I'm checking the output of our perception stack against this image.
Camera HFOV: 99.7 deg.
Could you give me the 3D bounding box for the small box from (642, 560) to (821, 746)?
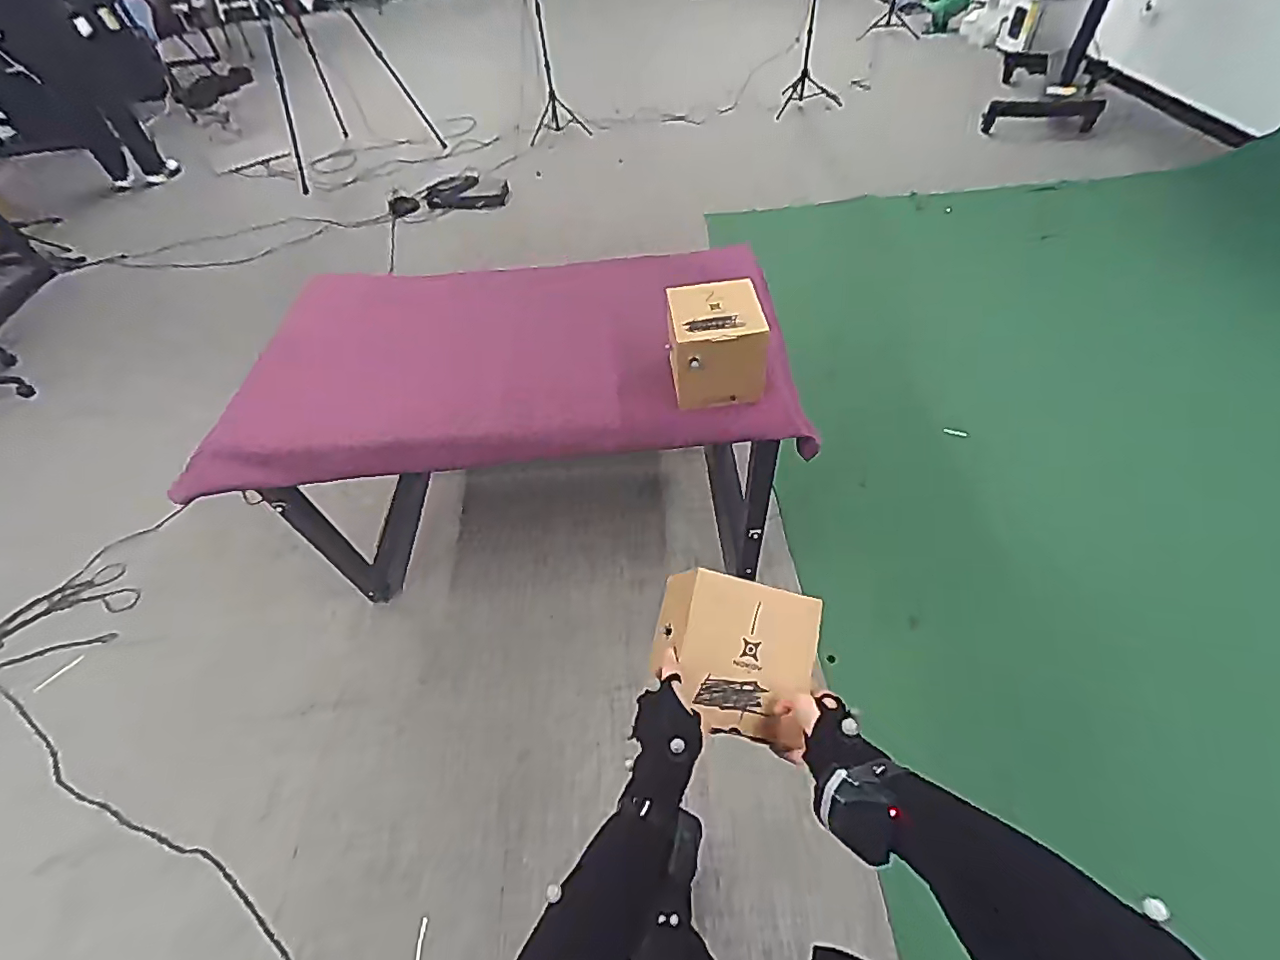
[{"bbox_3d":[0.107,0.217,0.703,0.168,0.176,0.179,18,74,-6],"label":"small box"}]
